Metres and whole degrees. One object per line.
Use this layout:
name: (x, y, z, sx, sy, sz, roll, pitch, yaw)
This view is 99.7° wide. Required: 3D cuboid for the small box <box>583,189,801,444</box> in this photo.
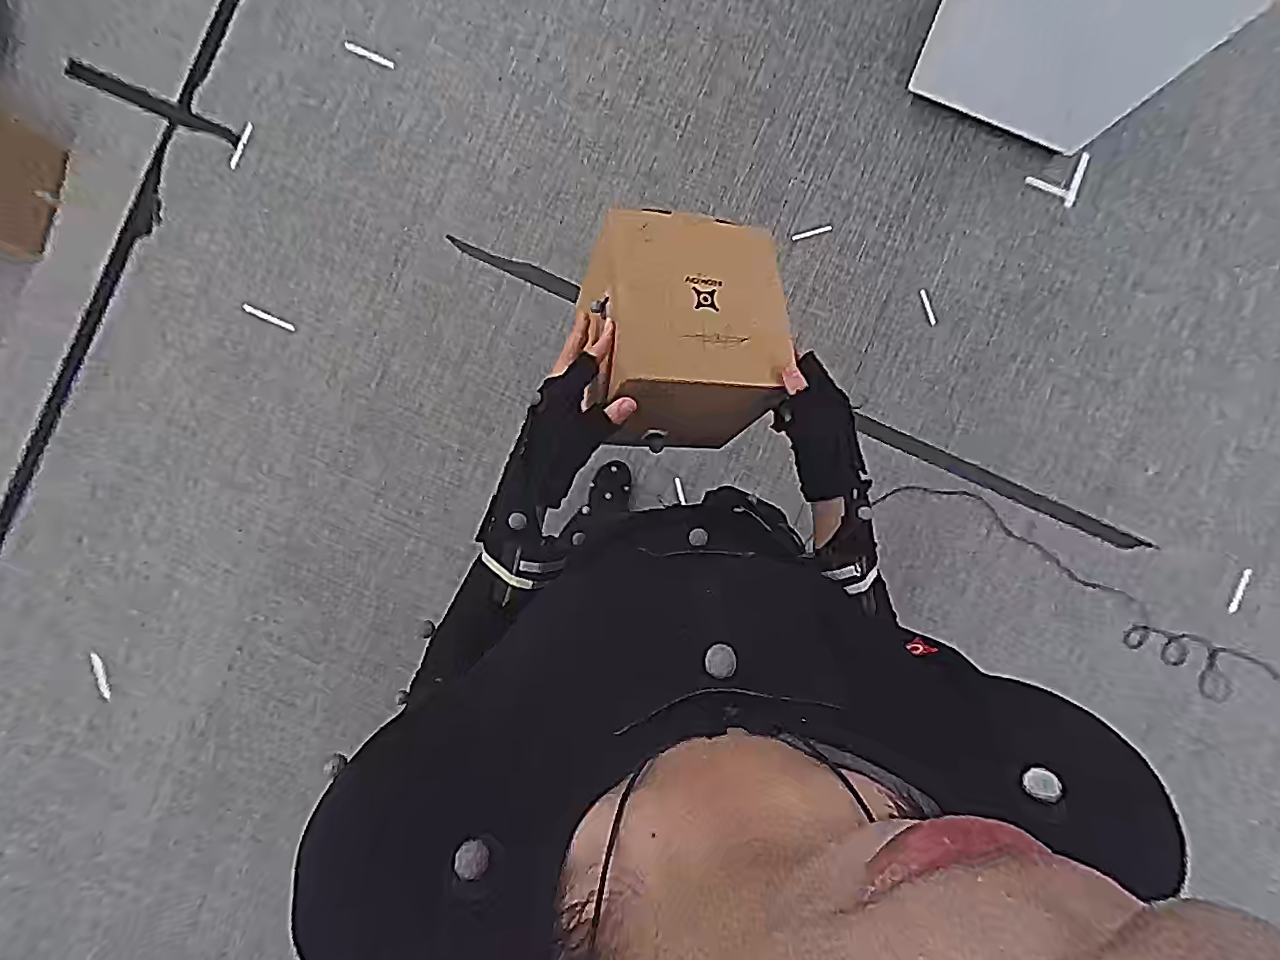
small box: (0.038, -0.150, 0.551, 0.168, 0.176, 0.179, 1, 74, -17)
